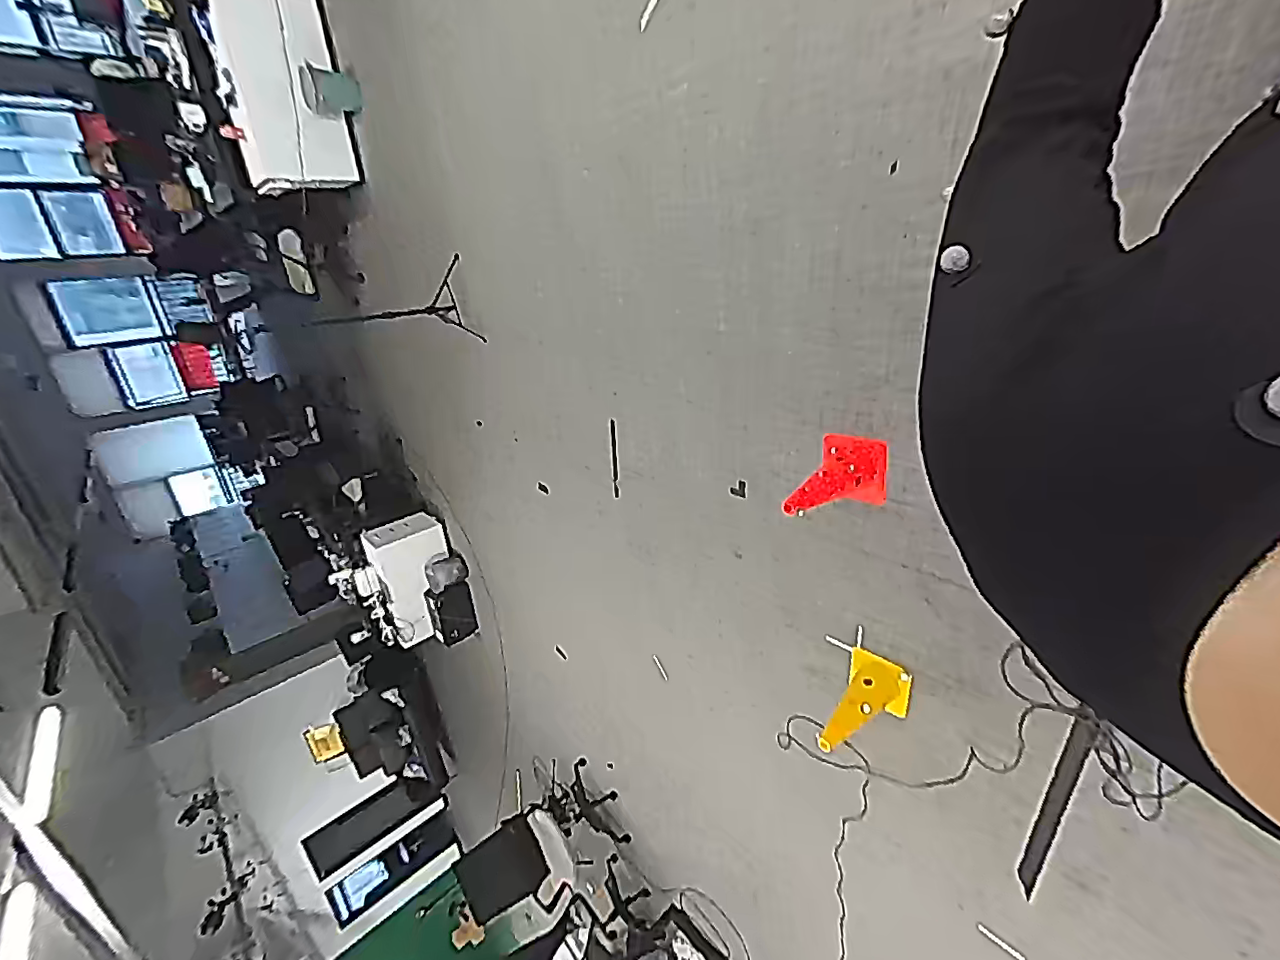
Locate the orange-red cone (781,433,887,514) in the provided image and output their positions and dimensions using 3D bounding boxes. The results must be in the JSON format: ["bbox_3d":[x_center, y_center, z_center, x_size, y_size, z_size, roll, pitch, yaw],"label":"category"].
[{"bbox_3d":[0.519,0.019,1.533,0.198,0.360,0.199,19,124,46],"label":"orange-red cone"}]
